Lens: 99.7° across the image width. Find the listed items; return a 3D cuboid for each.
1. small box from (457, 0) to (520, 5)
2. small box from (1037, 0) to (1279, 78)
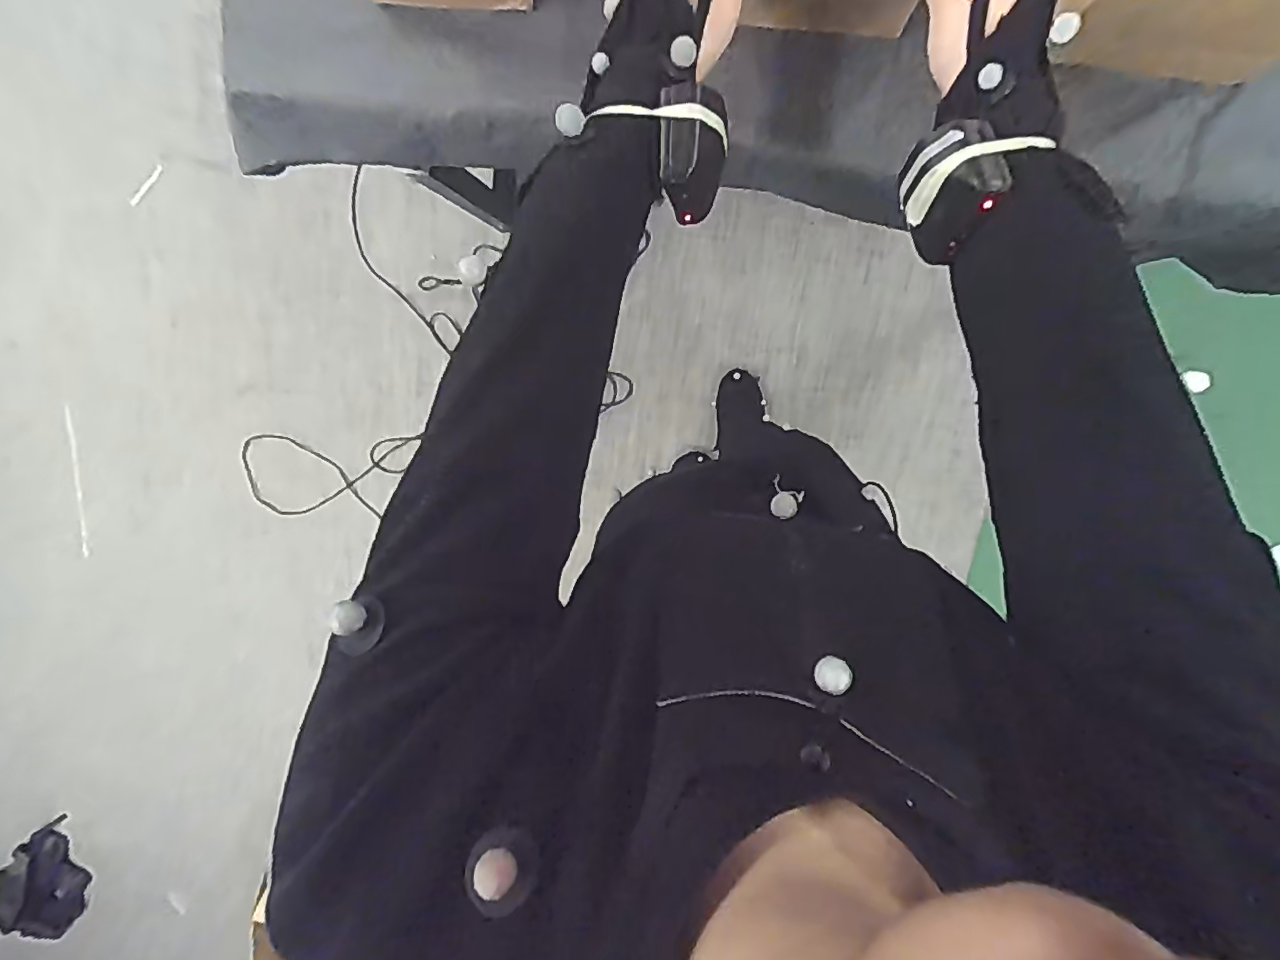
[{"bbox_3d":[-0.190,-0.544,0.452,0.179,0.176,0.168,8,104,5],"label":"small box"},{"bbox_3d":[0.440,-0.428,0.390,0.179,0.176,0.168,12,103,5],"label":"small box"}]
